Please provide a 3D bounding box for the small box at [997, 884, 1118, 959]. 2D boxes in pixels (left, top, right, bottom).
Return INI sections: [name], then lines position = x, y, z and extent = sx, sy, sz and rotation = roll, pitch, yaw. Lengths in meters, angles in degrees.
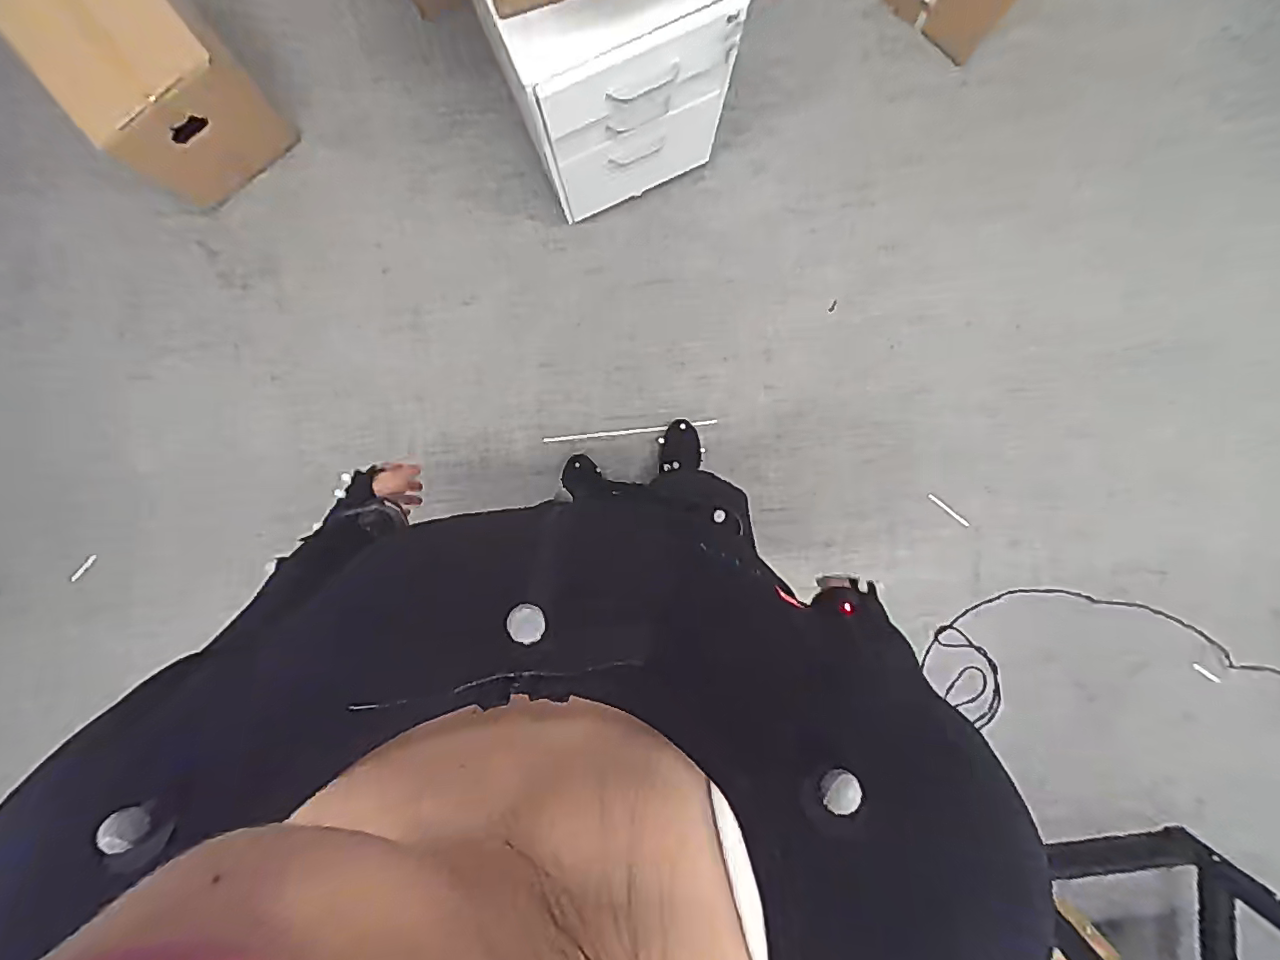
[small box]
position = 1.150, 1.280, 1.506
extent = 0.179, 0.176, 0.168
rotation = 27, 93, -3
